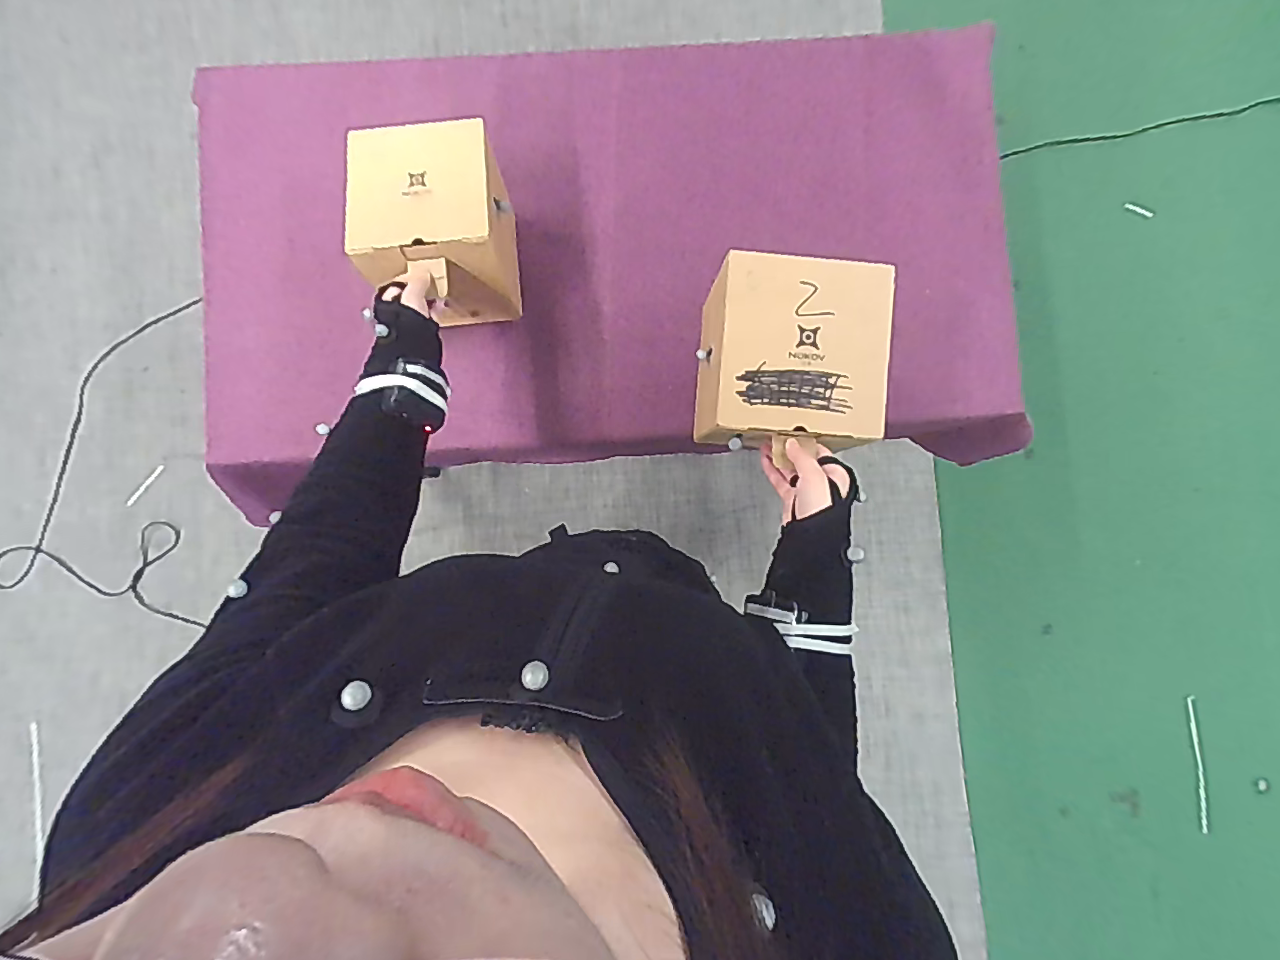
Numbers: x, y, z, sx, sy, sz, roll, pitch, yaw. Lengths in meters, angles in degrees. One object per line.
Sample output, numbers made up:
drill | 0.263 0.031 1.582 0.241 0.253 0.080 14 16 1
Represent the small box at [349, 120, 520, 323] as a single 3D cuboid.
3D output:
small box | -0.262 -0.336 0.724 0.168 0.176 0.179 -6 75 -1
